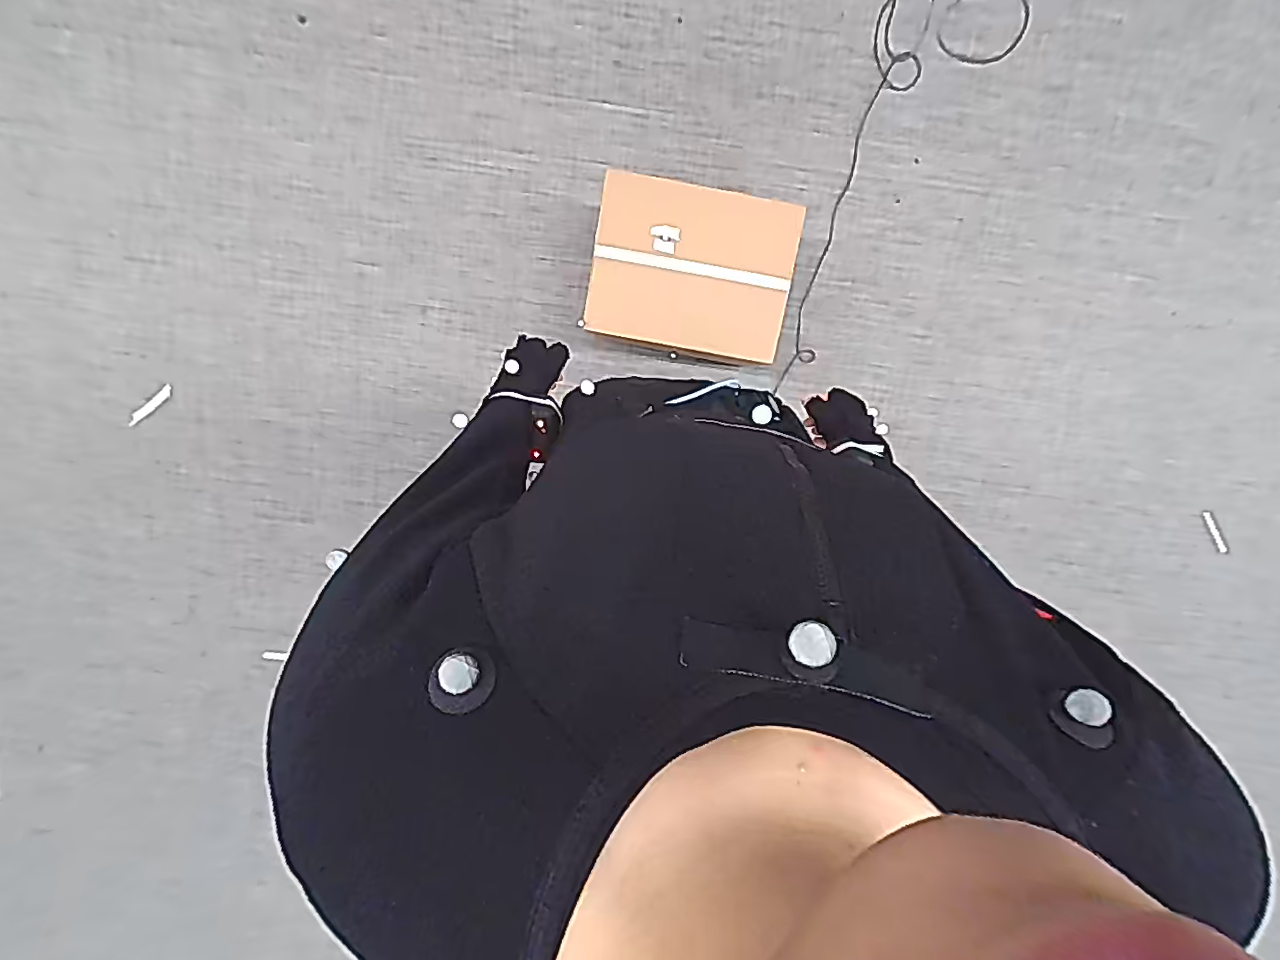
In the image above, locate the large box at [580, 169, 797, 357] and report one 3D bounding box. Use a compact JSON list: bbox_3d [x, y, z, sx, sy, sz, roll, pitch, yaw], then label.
[{"bbox_3d":[0.098,-0.467,1.245,0.408,0.320,0.320,10,101,-1],"label":"large box"}]
